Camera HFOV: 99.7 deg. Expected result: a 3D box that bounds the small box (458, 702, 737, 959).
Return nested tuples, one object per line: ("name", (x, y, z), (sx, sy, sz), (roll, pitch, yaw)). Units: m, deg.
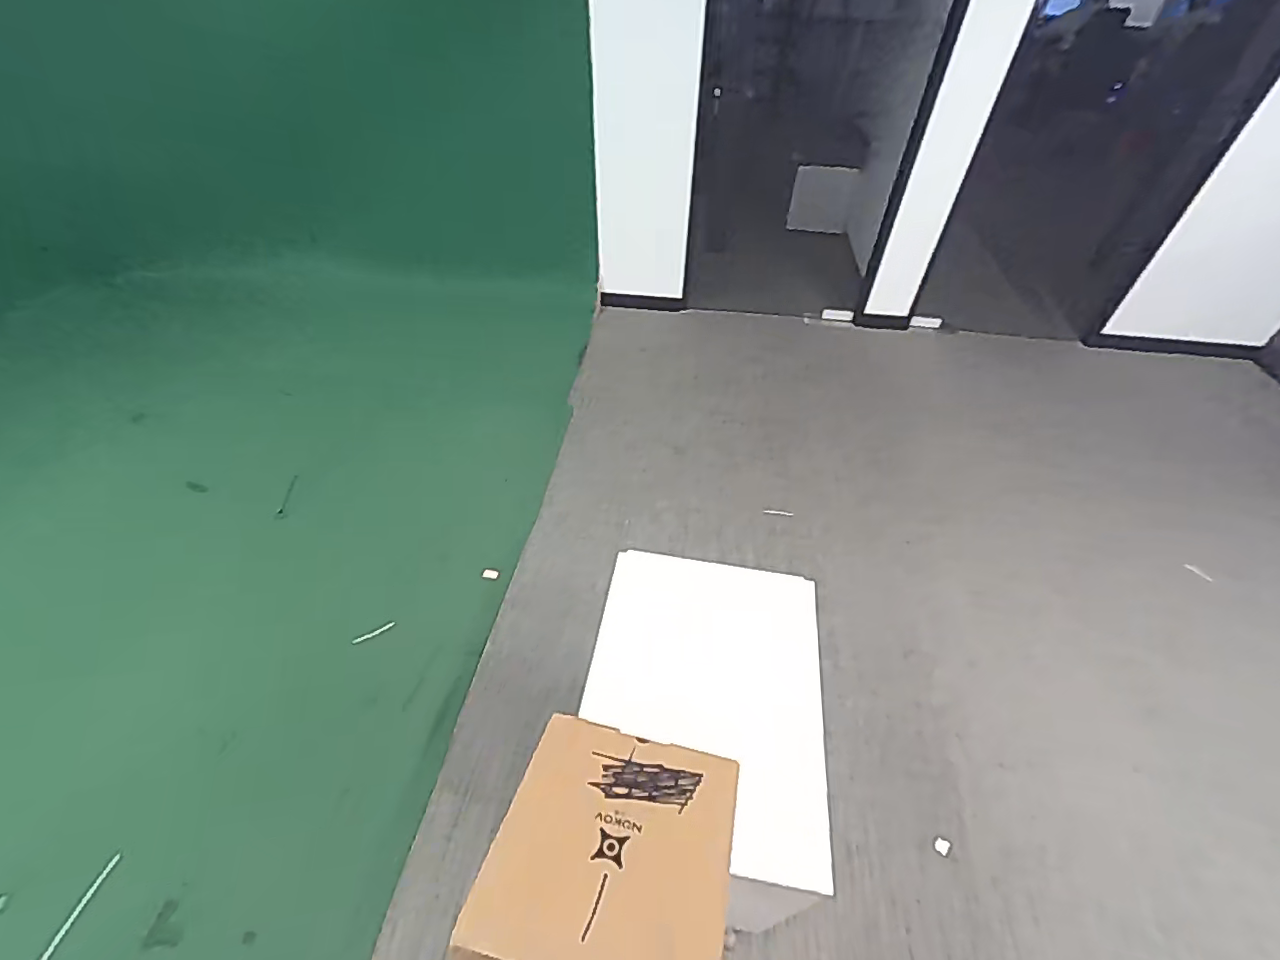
("small box", (-0.023, 0.321, 0.433), (0.168, 0.176, 0.179), (9, 28, 12))
